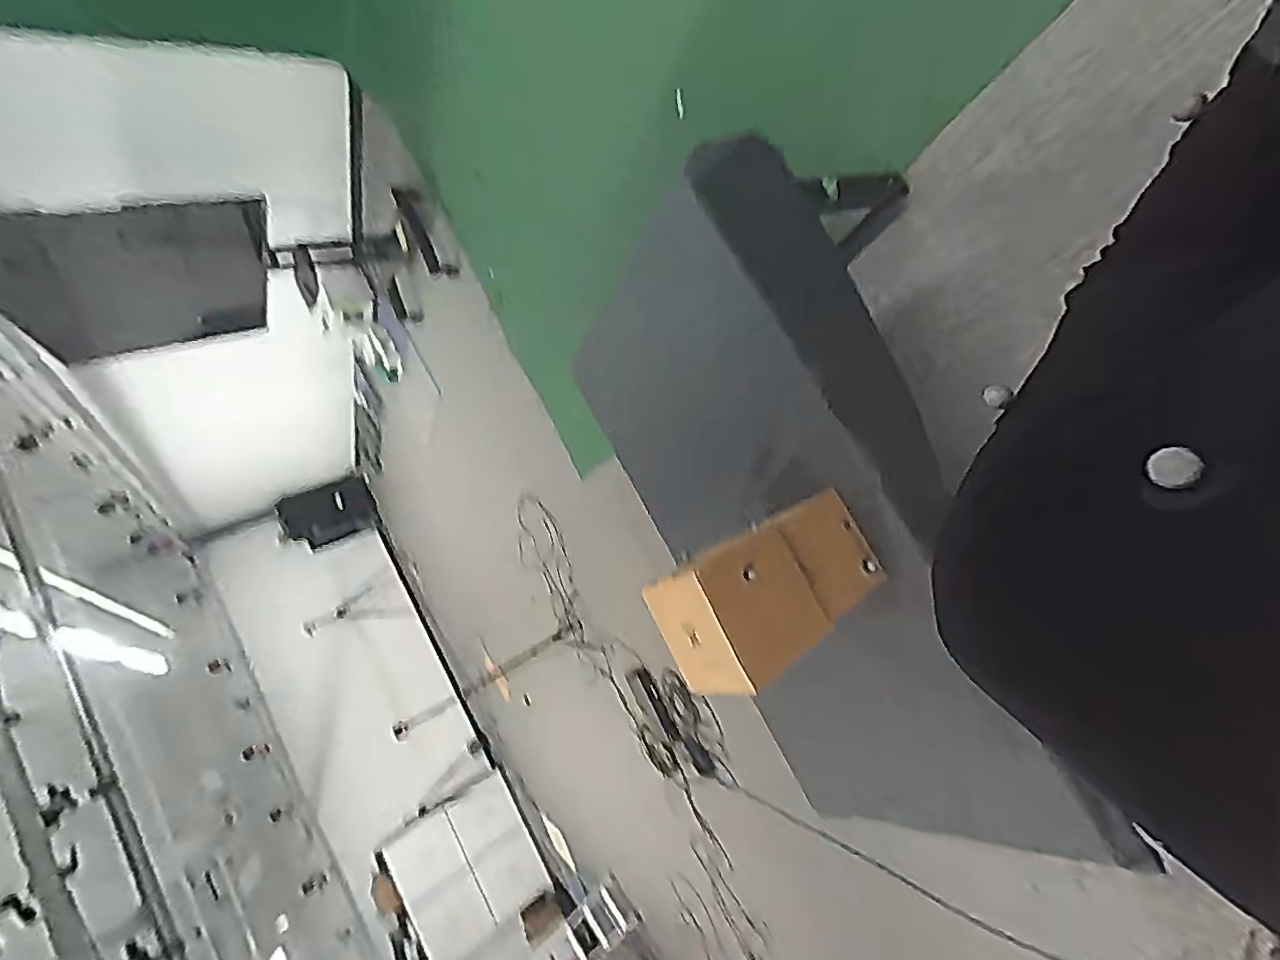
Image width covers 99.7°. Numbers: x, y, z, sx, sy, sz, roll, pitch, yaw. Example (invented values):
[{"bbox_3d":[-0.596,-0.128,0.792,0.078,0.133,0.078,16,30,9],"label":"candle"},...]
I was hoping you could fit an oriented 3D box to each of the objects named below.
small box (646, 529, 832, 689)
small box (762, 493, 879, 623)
[{"bbox_3d":[0.145,0.187,0.804,0.179,0.176,0.168,61,149,6],"label":"small box"},{"bbox_3d":[0.266,0.144,0.903,0.168,0.176,0.179,59,145,10],"label":"small box"}]
